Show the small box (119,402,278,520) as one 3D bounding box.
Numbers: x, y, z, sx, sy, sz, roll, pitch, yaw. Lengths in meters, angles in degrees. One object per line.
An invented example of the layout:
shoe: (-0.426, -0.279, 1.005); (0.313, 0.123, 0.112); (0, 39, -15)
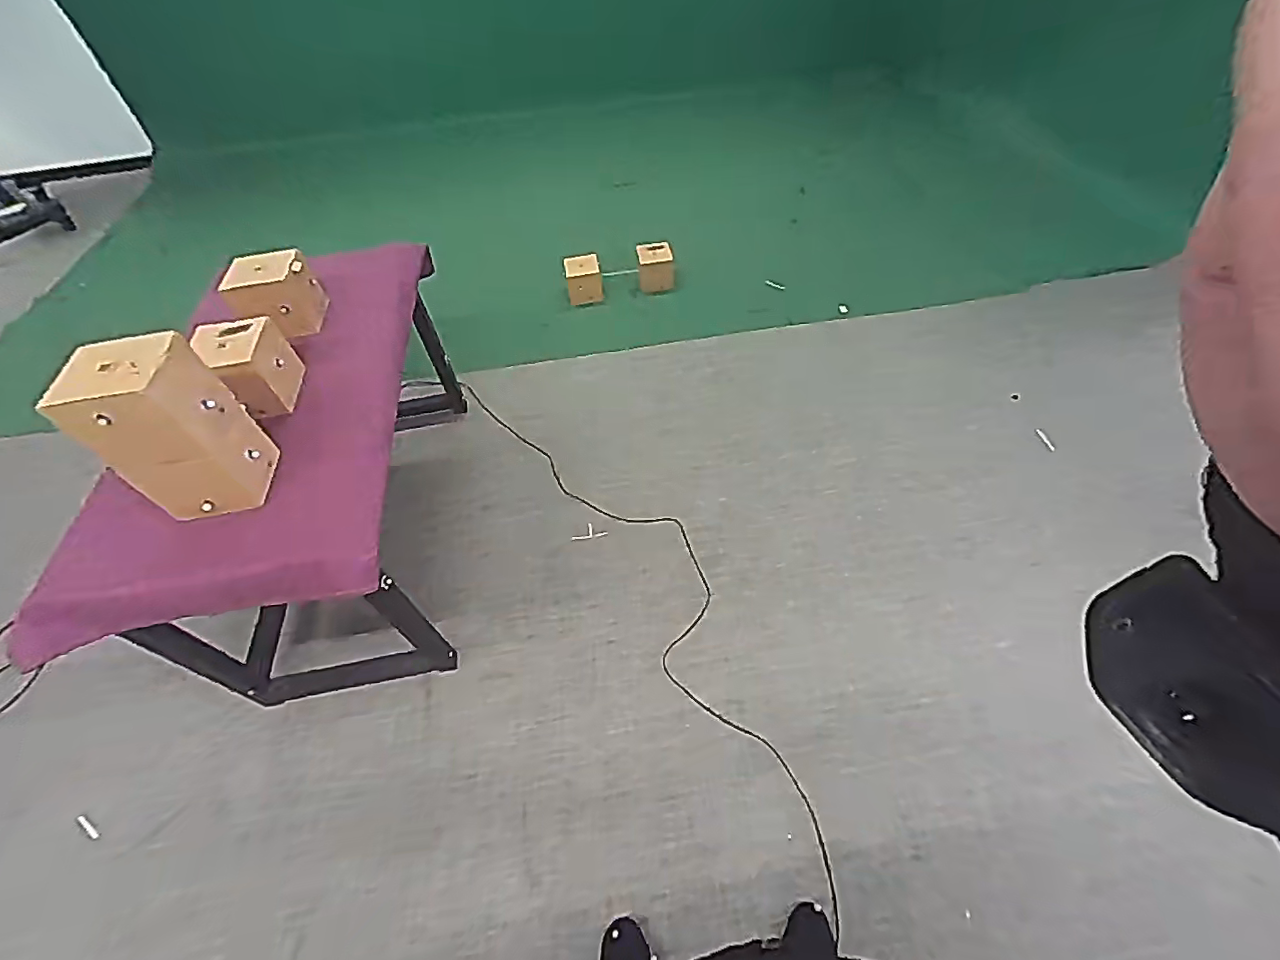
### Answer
small box: (-0.900, -0.037, 1.128); (0.179, 0.176, 0.168); (-10, 51, -4)

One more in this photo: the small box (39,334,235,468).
small box: (-0.909, -0.141, 1.000); (0.179, 0.176, 0.168); (-10, 52, -4)

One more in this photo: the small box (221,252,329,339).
small box: (-1.003, -0.506, 1.507); (0.179, 0.176, 0.168); (-10, 52, -3)

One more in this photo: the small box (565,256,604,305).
small box: (-0.285, -1.015, 2.768); (0.168, 0.176, 0.179); (-10, 51, -3)

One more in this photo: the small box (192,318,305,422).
small box: (-0.948, -0.261, 1.308); (0.168, 0.176, 0.179); (-11, 53, -3)
